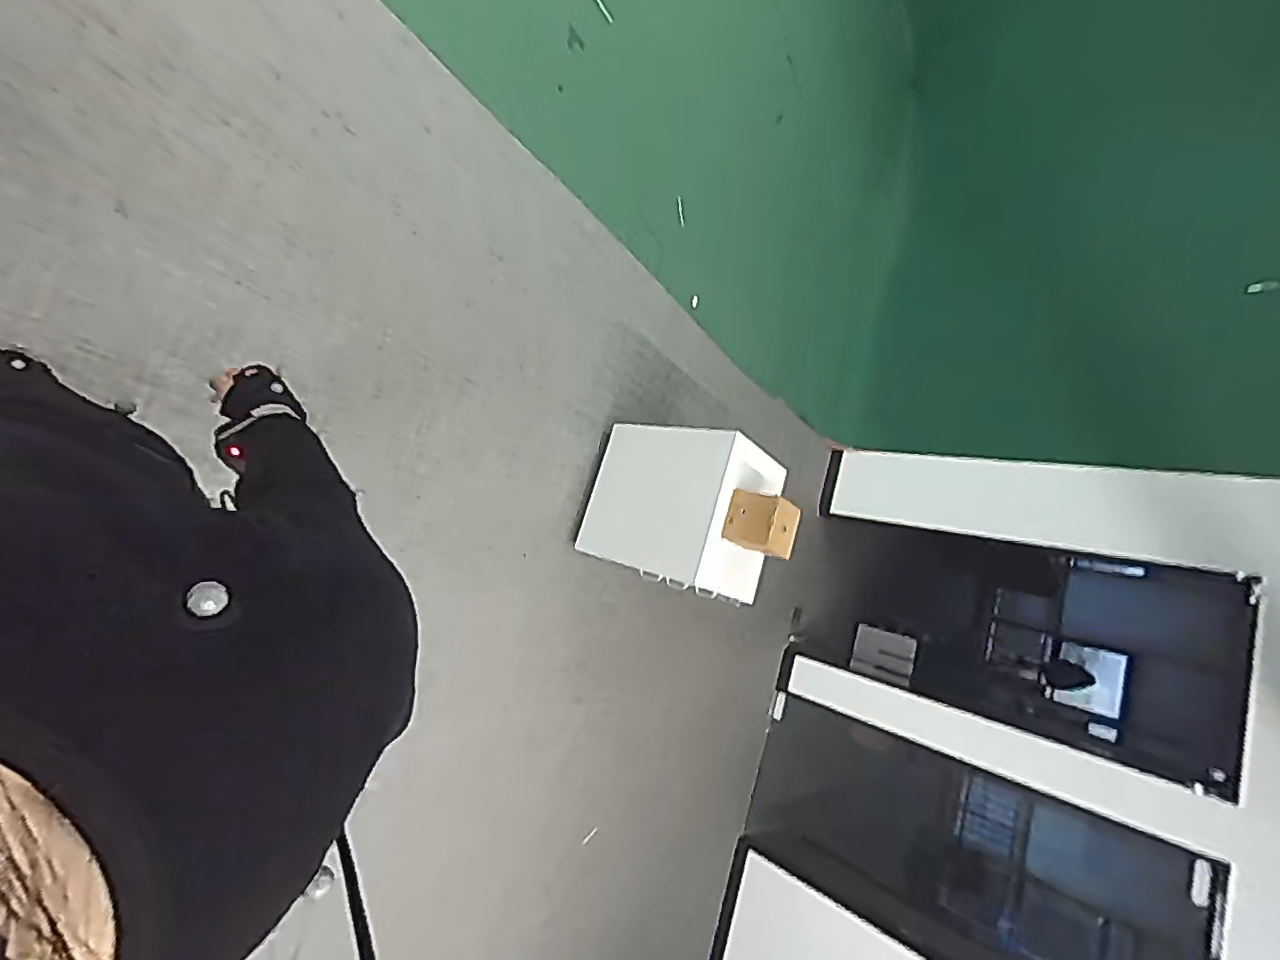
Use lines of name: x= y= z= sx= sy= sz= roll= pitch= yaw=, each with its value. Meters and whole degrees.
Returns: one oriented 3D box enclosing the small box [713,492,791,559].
small box: x=0.362 y=0.146 z=1.753 sx=0.179 sy=0.176 sz=0.168 roll=29 pitch=74 yaw=-49
